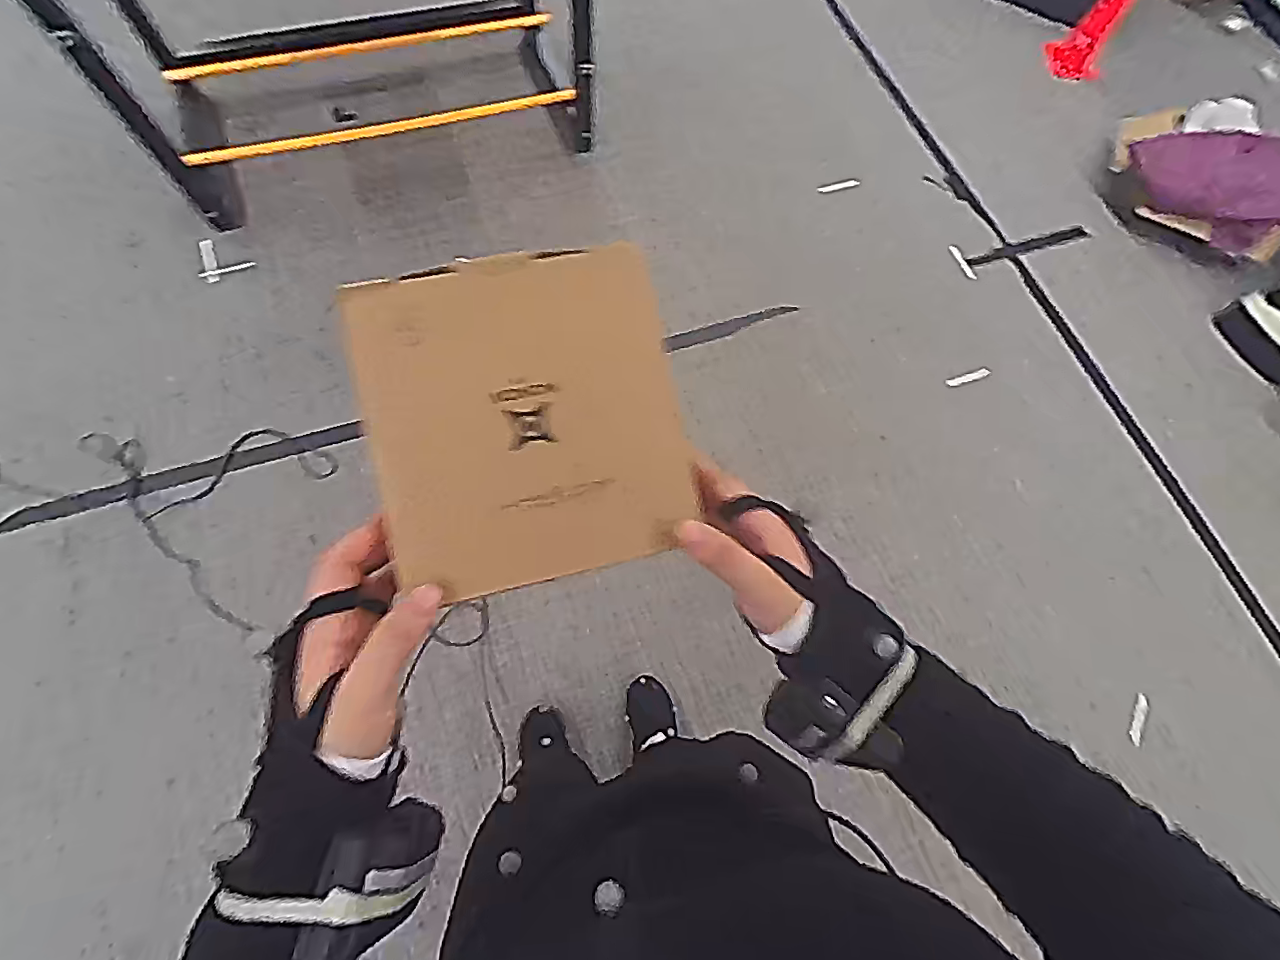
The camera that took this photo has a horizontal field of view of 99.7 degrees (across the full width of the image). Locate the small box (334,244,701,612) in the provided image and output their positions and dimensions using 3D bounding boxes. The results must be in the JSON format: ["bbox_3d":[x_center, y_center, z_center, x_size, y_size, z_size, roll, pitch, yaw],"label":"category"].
[{"bbox_3d":[-0.075,-0.028,0.369,0.168,0.176,0.179,-13,90,-9],"label":"small box"}]
